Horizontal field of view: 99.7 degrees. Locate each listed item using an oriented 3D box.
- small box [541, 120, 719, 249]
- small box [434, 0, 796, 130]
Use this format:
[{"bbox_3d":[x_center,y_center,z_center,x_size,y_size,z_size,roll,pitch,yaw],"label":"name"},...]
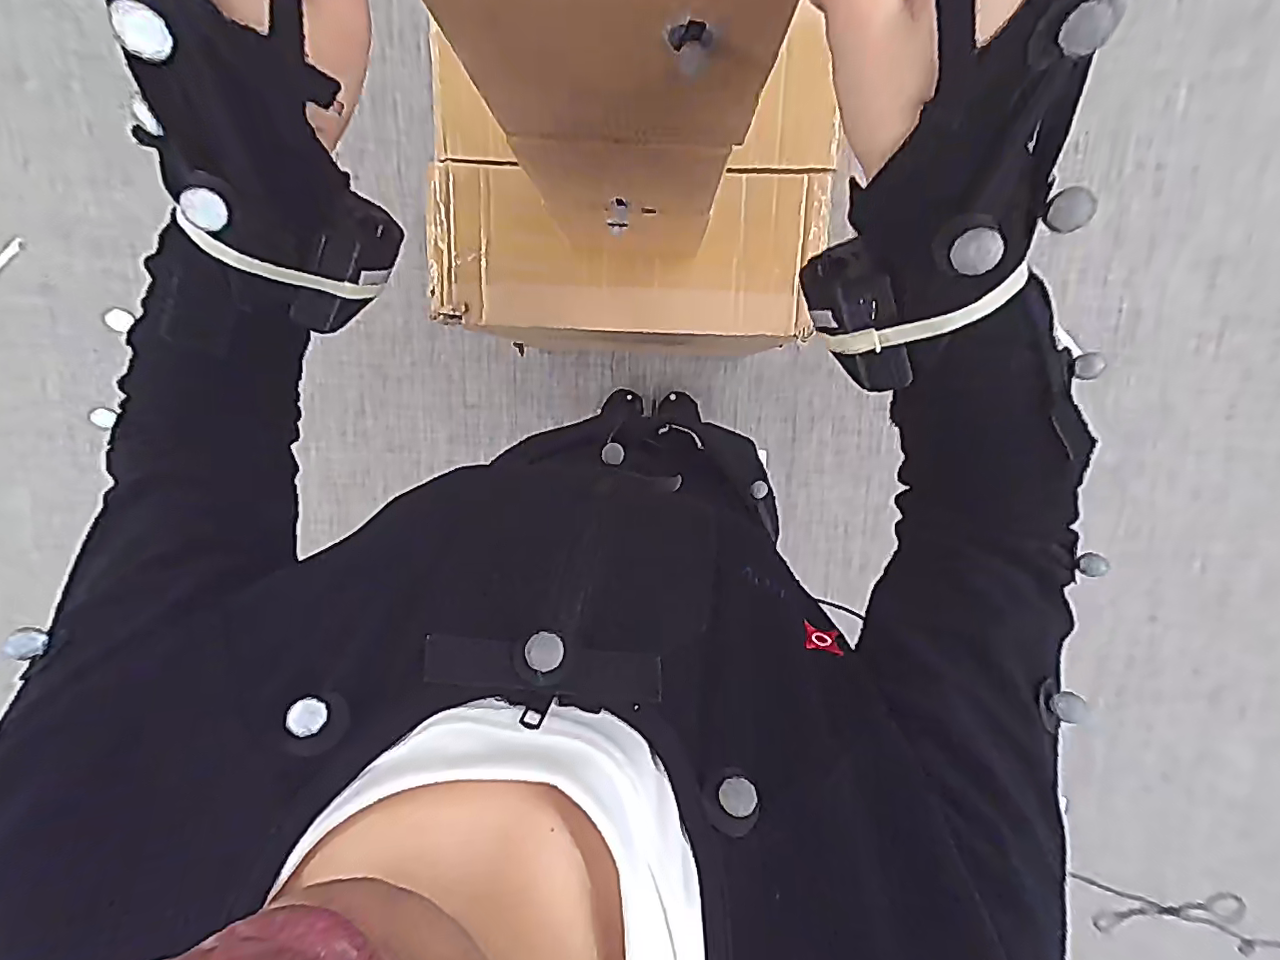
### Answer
[{"bbox_3d":[-0.006,-0.370,0.612,0.179,0.176,0.168,4,100,0],"label":"small box"},{"bbox_3d":[-0.008,-0.313,0.288,0.179,0.176,0.168,3,100,1],"label":"small box"}]
